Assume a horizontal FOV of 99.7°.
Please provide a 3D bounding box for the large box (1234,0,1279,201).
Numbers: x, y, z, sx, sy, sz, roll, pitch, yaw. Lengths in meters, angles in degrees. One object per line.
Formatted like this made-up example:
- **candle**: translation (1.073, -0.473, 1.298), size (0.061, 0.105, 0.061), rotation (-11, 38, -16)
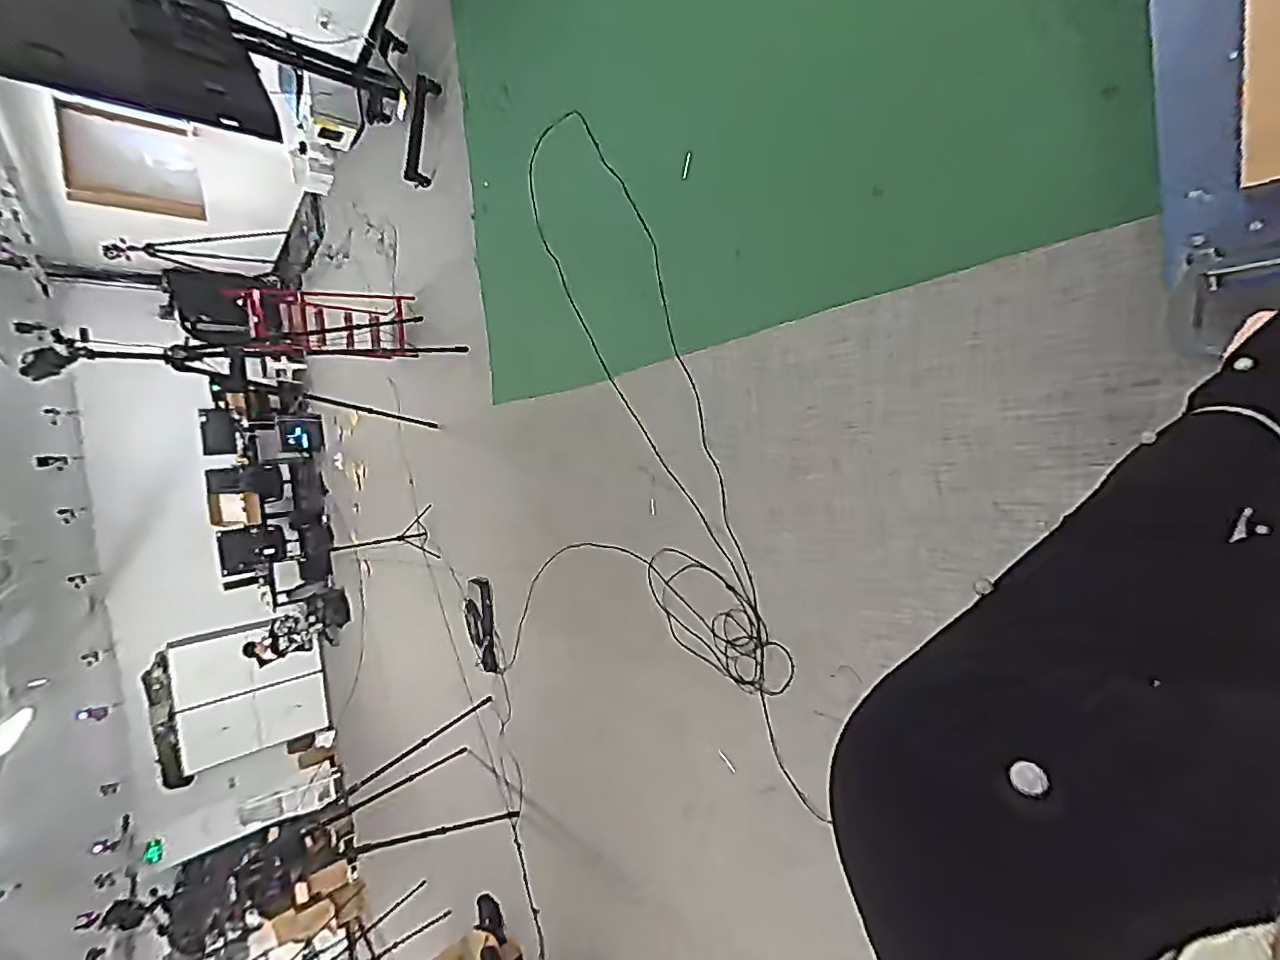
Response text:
- **large box**: translation (0.988, -0.622, 0.678), size (0.320, 0.320, 0.408), rotation (2, 107, 48)
